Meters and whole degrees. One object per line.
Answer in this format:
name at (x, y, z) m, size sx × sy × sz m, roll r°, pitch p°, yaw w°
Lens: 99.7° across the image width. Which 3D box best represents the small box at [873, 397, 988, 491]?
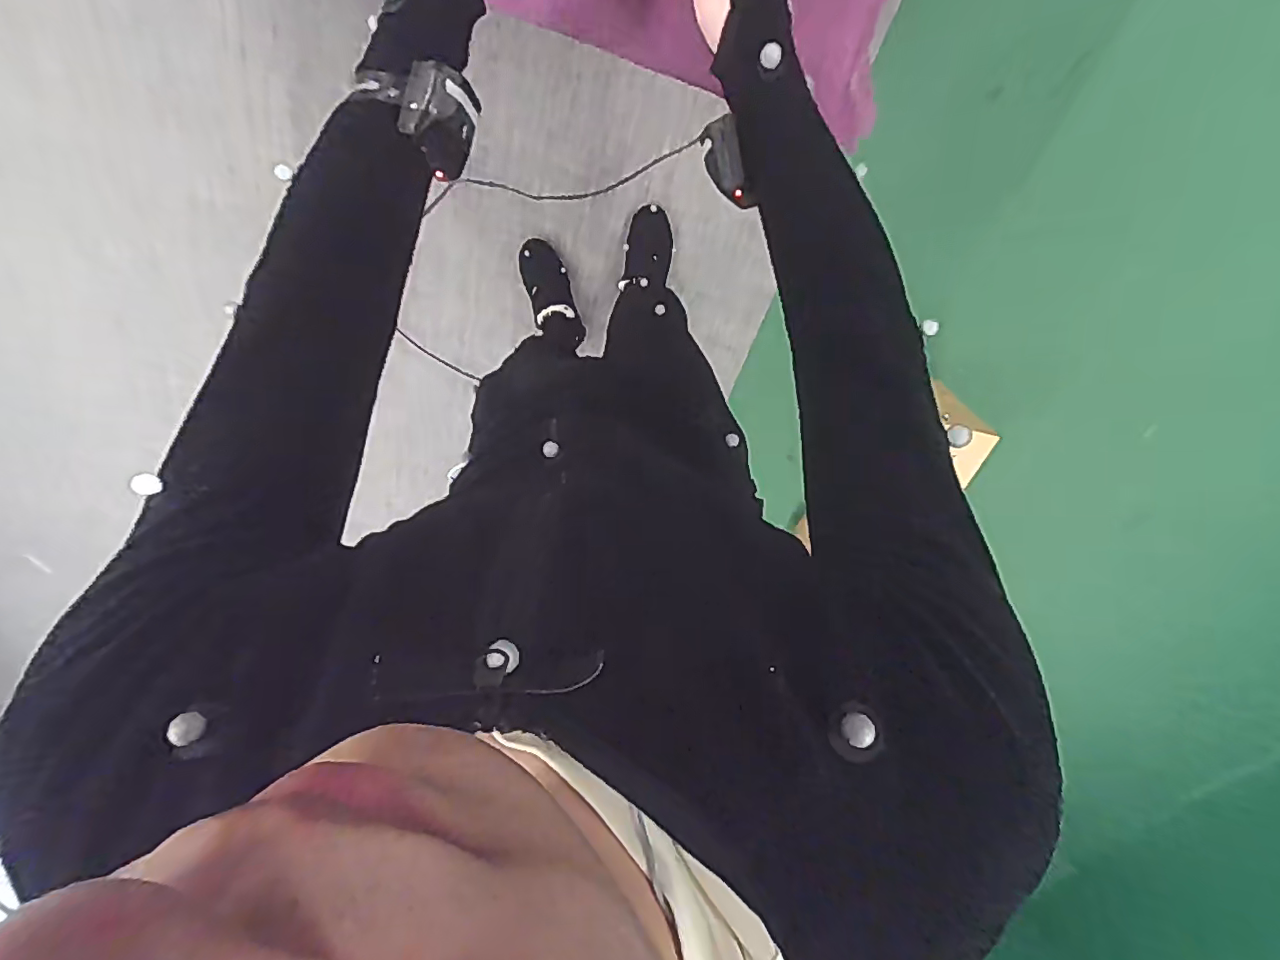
small box at (0.746, -0.098, 1.409) m, size 0.179 × 0.176 × 0.168 m, roll 12°, pitch 124°, yaw -6°
